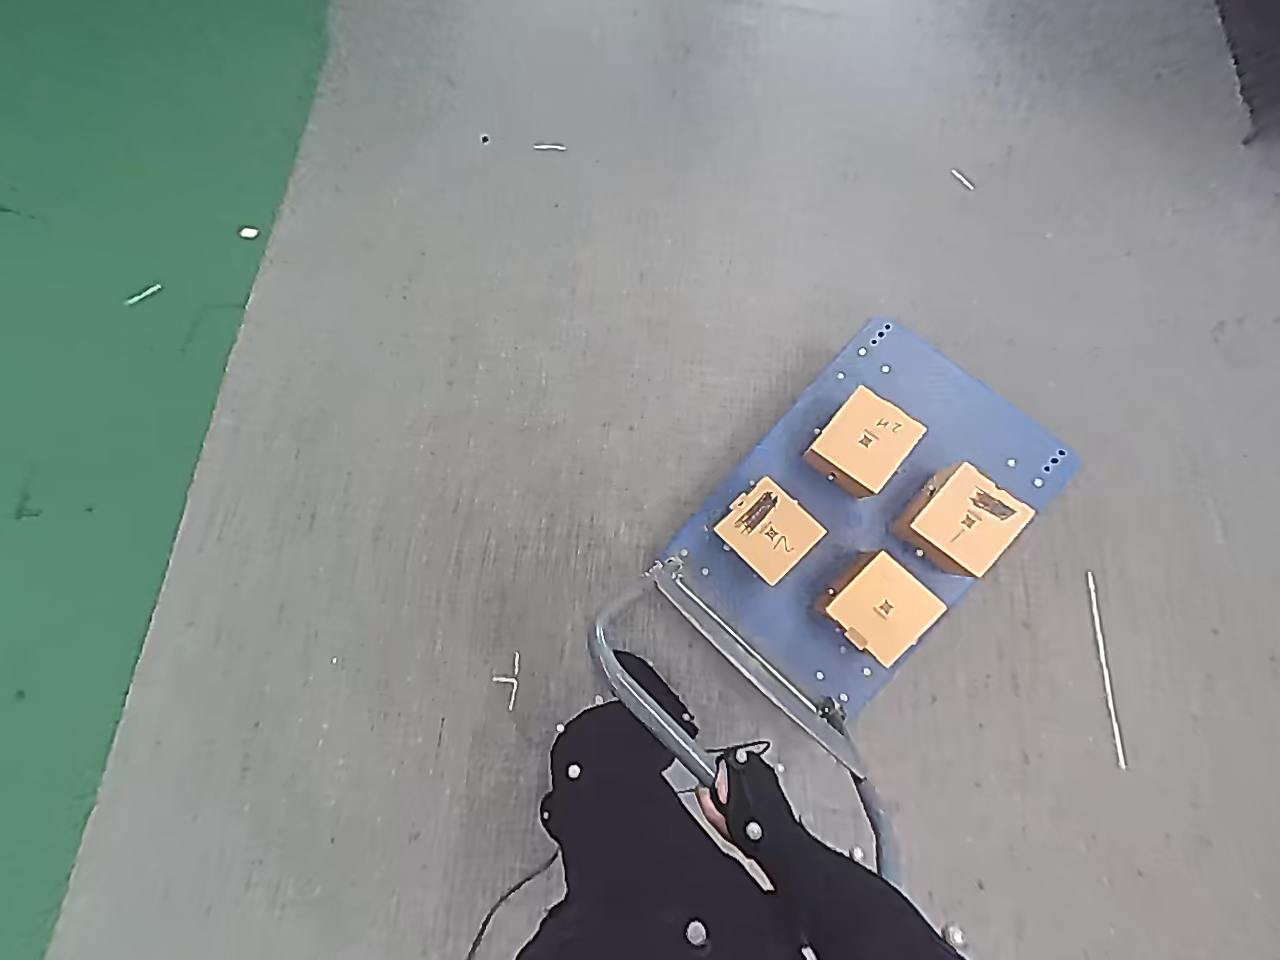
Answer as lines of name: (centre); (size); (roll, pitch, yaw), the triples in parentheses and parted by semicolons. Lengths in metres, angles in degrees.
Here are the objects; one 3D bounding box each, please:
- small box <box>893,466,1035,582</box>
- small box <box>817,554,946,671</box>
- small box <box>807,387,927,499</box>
small box: (0.678, 0.095, 1.158); (0.168, 0.176, 0.179); (41, 92, 12)
small box: (0.506, 0.273, 1.167); (0.168, 0.176, 0.179); (45, 93, 12)
small box: (0.493, -0.073, 1.209); (0.168, 0.176, 0.179); (39, 91, 11)
